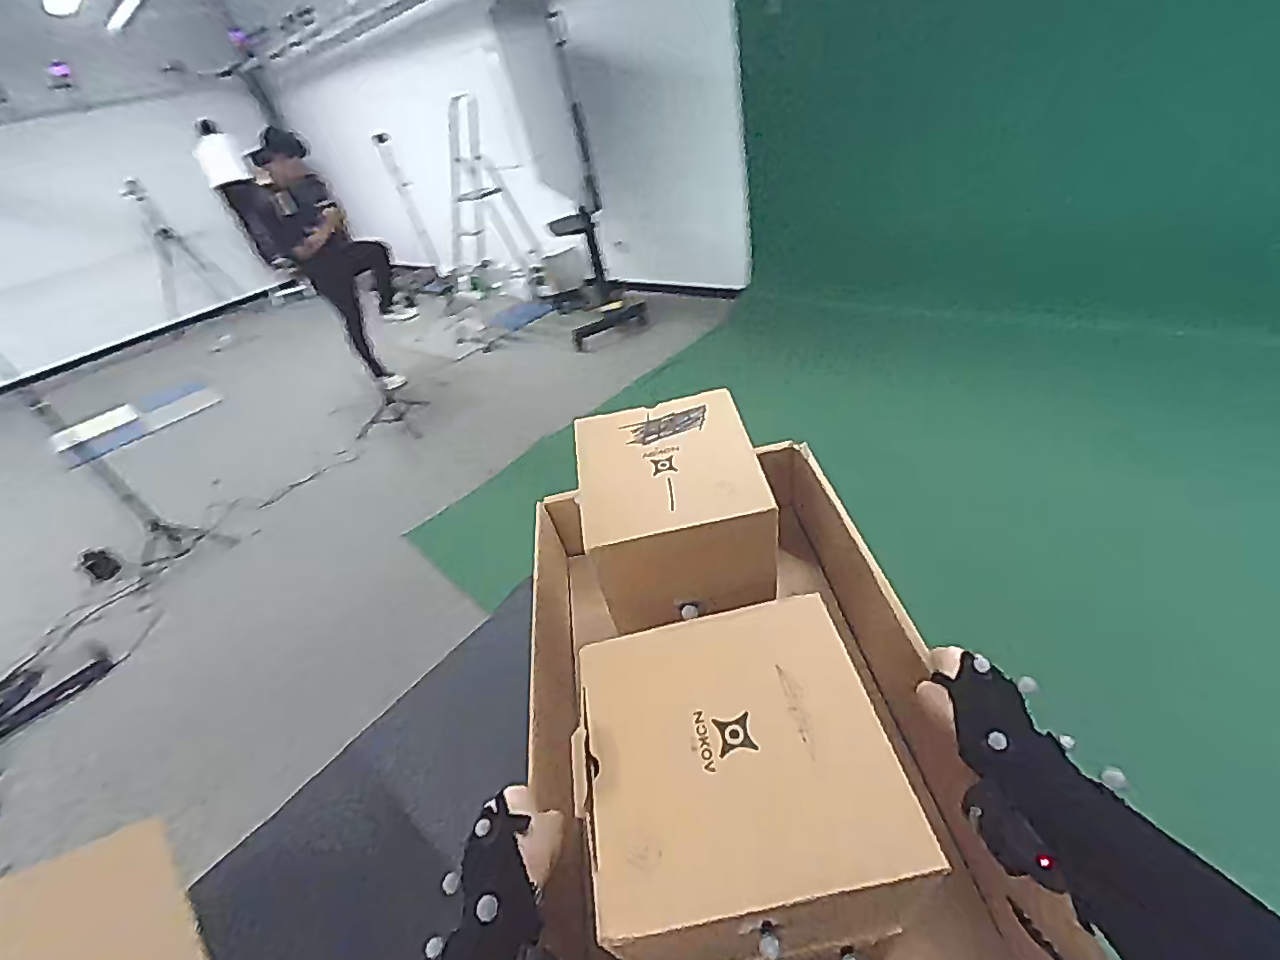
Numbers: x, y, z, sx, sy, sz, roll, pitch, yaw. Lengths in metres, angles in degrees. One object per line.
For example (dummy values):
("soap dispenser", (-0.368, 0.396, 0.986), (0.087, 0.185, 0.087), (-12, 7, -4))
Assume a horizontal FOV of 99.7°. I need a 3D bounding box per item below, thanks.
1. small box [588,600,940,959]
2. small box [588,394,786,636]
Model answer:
("small box", (0.071, 0.215, 0.381), (0.179, 0.176, 0.168), (-12, 43, 1))
("small box", (0.044, 0.040, 0.564), (0.168, 0.176, 0.179), (-11, 46, 2))
